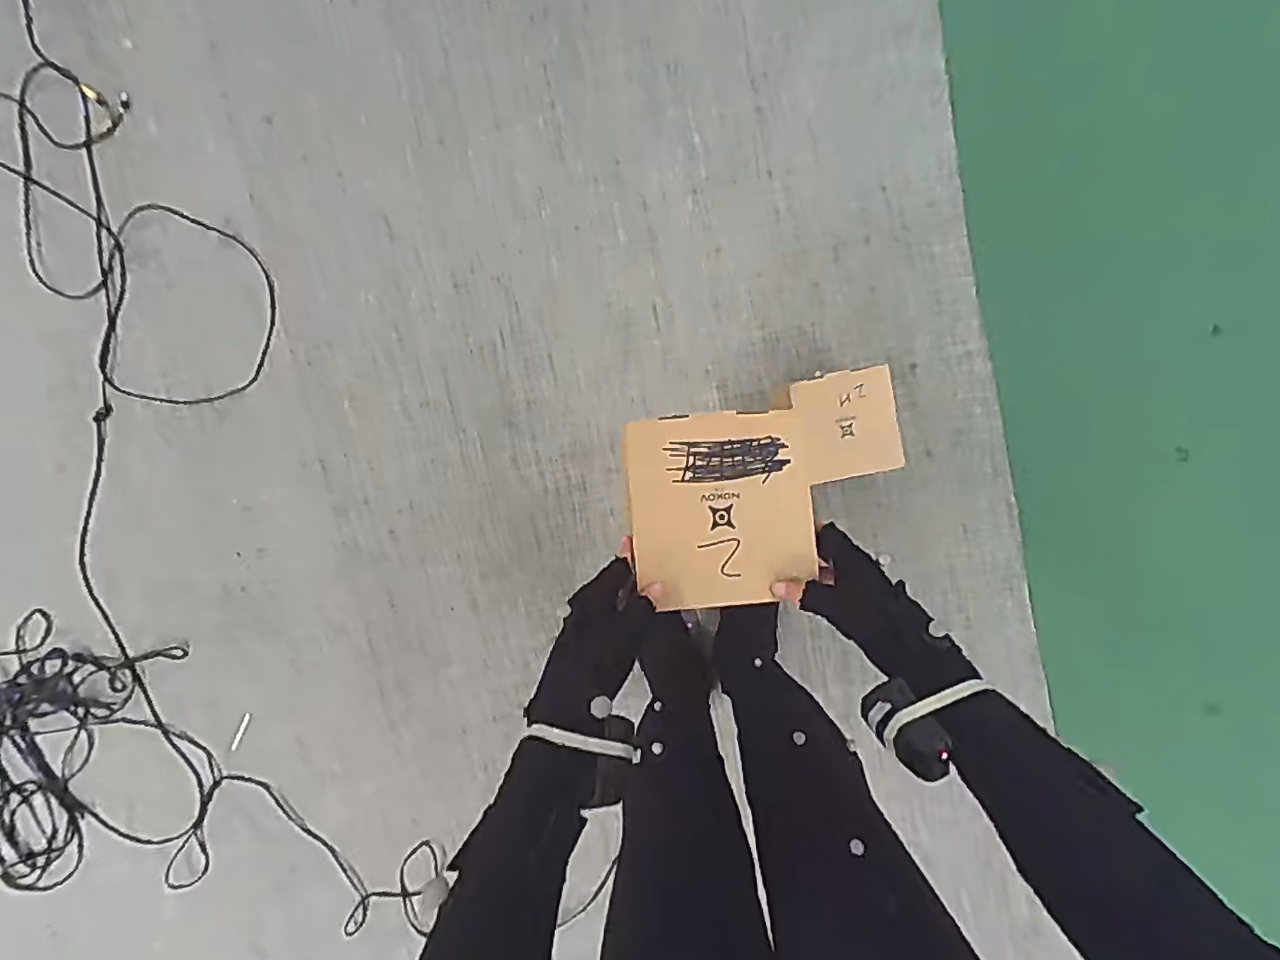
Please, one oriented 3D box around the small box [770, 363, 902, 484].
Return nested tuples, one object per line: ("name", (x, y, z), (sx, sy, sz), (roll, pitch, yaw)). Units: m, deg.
("small box", (0.340, -0.098, 0.965), (0.168, 0.176, 0.179), (-11, 94, 4))
